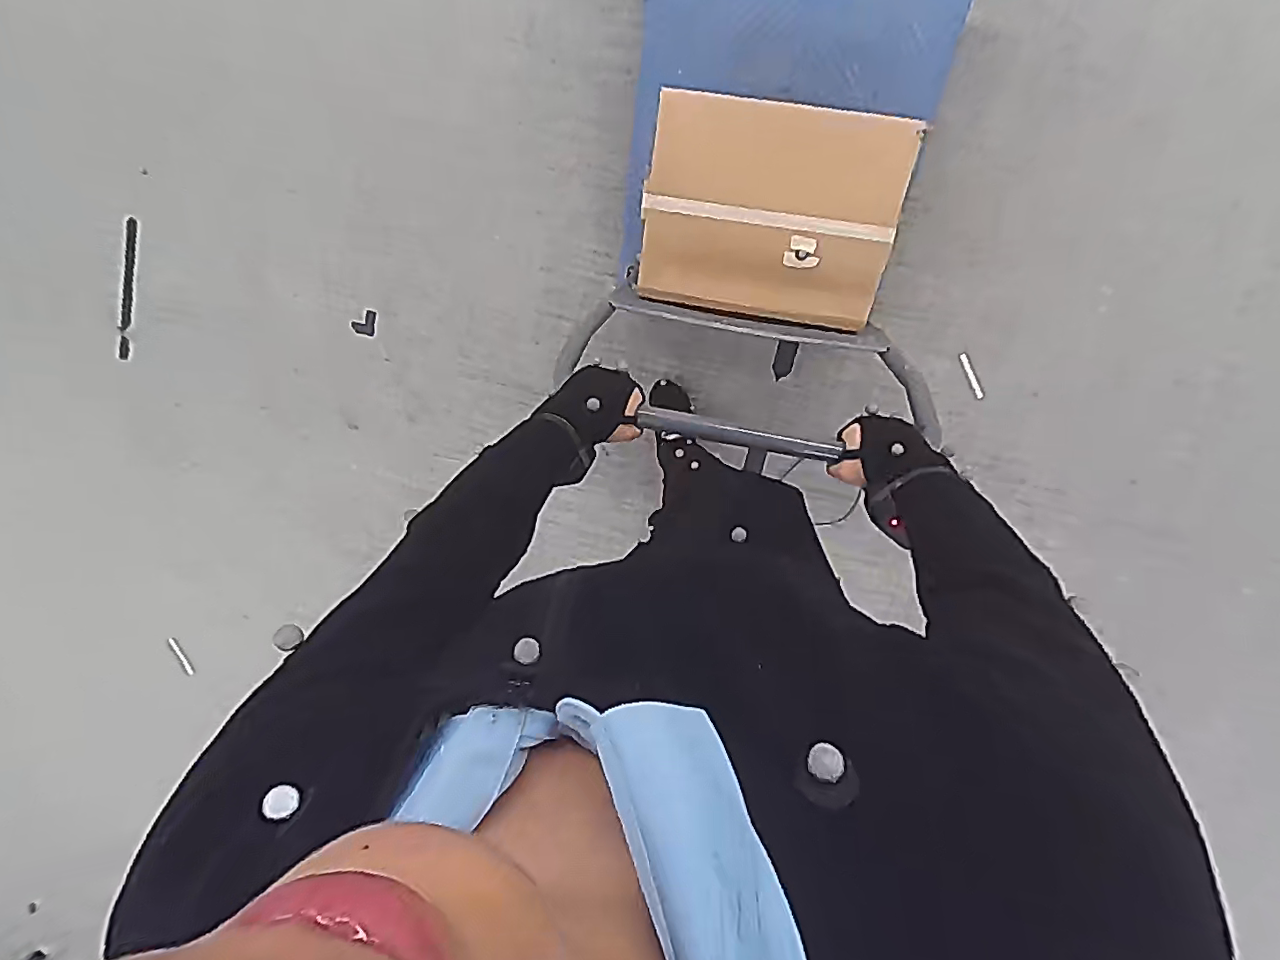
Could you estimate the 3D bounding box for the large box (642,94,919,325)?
[{"bbox_3d":[0.232,-0.502,1.036,0.408,0.320,0.320,10,117,4],"label":"large box"}]
